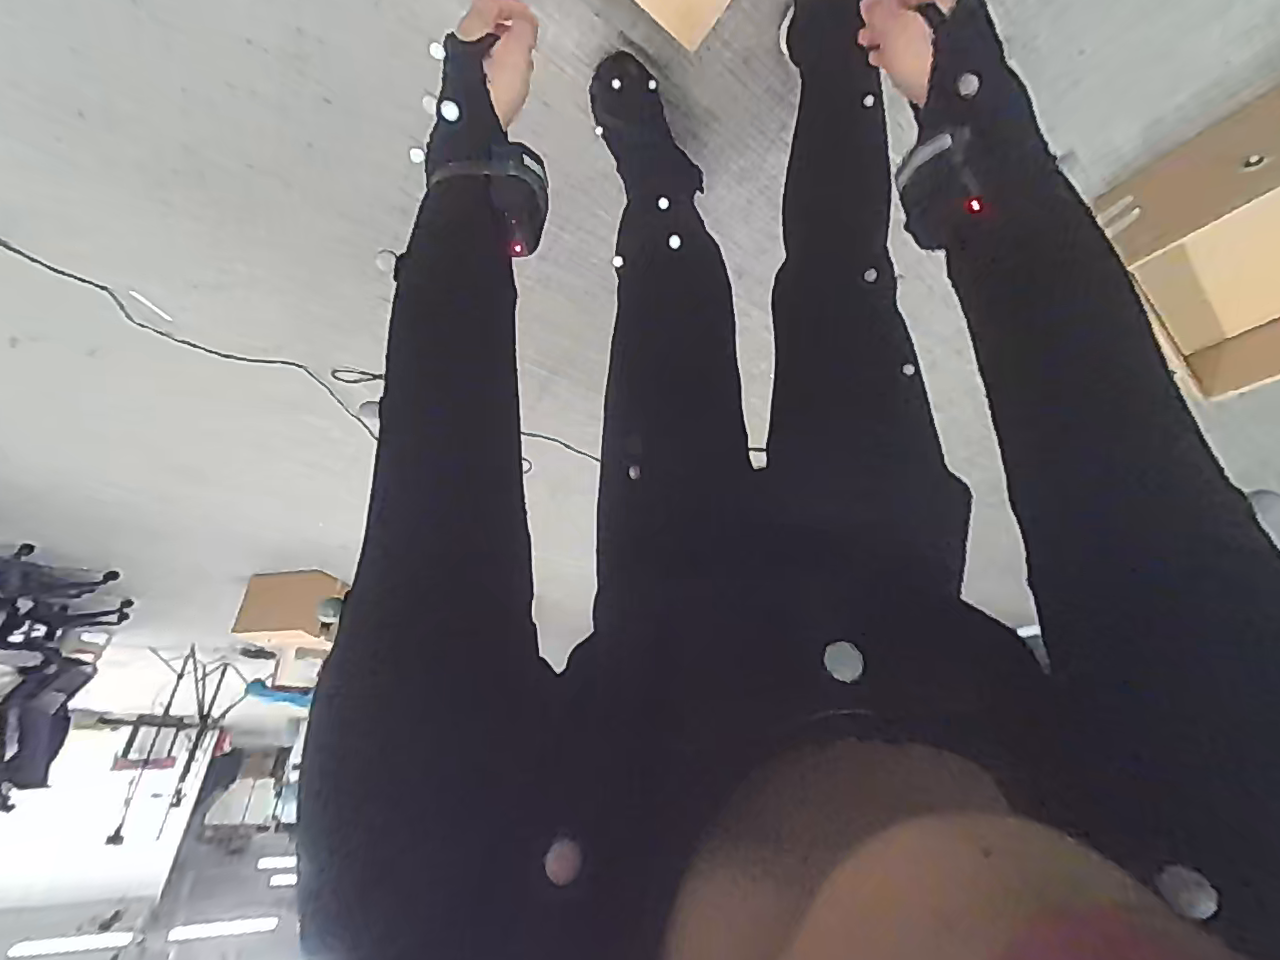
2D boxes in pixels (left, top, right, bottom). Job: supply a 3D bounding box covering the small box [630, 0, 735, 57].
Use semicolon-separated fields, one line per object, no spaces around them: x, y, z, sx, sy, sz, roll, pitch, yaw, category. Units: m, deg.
0.052;-0.651;0.607;0.168;0.176;0.179;20;146;-32;small box
